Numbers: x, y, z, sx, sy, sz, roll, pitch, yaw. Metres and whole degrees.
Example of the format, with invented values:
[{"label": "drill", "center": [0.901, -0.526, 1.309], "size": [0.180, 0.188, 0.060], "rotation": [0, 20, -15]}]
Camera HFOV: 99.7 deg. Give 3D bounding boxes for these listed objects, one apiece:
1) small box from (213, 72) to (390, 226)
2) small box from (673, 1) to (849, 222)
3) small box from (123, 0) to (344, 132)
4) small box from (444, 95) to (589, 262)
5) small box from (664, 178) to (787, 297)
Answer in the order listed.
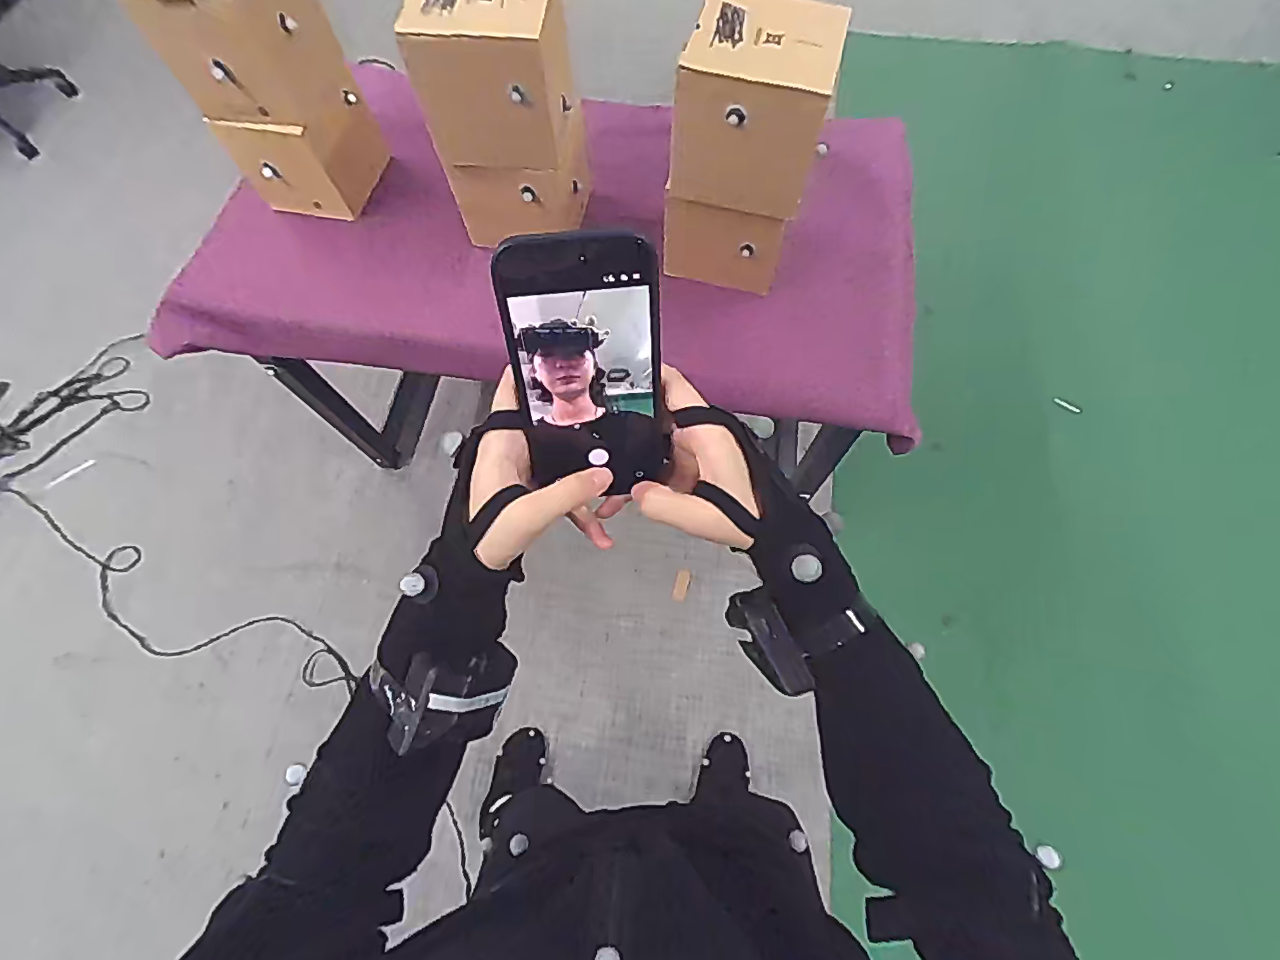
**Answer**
[{"label": "small box", "center": [-0.568, -0.572, 0.937], "size": [0.168, 0.176, 0.179], "rotation": [10, 68, 6]}, {"label": "small box", "center": [0.145, -0.466, 0.699], "size": [0.179, 0.176, 0.168], "rotation": [15, 68, 7]}, {"label": "small box", "center": [-0.570, -0.644, 0.789], "size": [0.168, 0.176, 0.179], "rotation": [6, 68, 3]}, {"label": "small box", "center": [-0.189, -0.488, 0.892], "size": [0.179, 0.176, 0.168], "rotation": [10, 67, 5]}, {"label": "small box", "center": [0.143, -0.417, 0.856], "size": [0.179, 0.176, 0.168], "rotation": [15, 68, 9]}]
